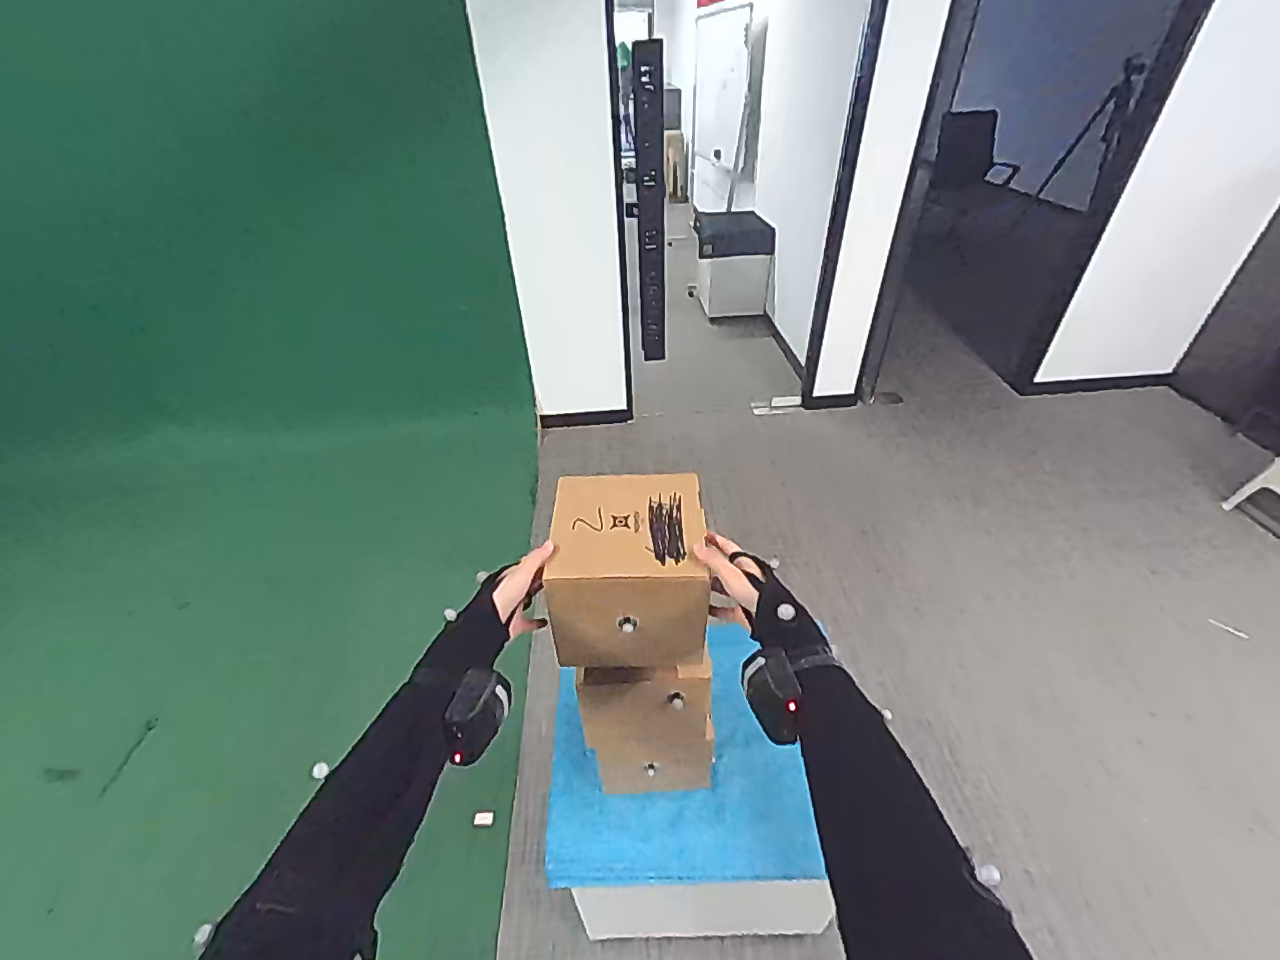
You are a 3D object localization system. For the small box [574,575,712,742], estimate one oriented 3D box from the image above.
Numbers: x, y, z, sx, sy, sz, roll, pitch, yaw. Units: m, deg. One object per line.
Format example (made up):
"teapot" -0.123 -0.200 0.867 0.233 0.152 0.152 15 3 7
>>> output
"small box" 0.002 0.258 0.782 0.179 0.176 0.168 -3 38 -1

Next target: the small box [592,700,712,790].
"small box" 0.016 0.385 0.885 0.179 0.176 0.168 -3 38 -1
